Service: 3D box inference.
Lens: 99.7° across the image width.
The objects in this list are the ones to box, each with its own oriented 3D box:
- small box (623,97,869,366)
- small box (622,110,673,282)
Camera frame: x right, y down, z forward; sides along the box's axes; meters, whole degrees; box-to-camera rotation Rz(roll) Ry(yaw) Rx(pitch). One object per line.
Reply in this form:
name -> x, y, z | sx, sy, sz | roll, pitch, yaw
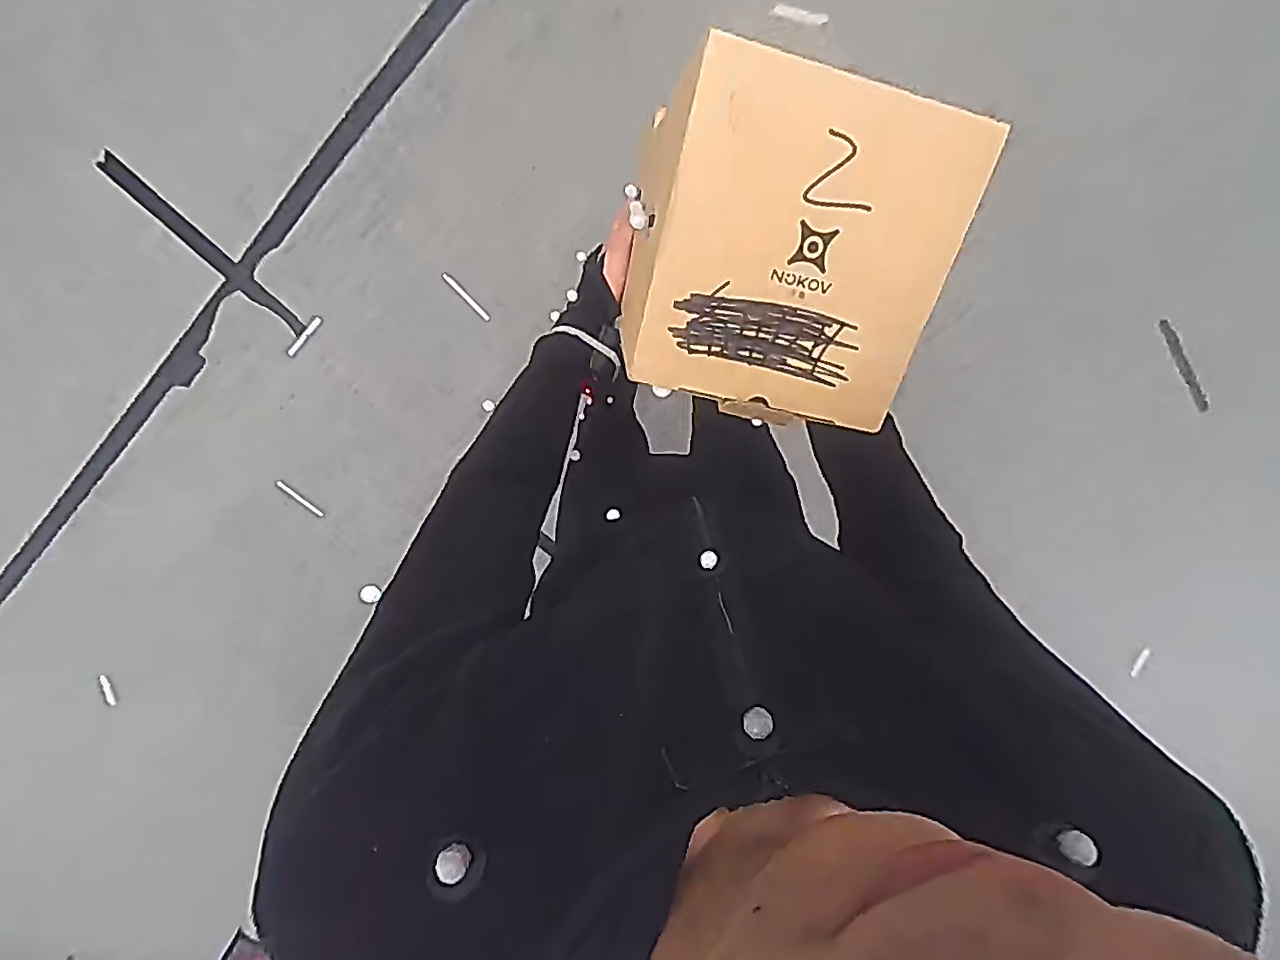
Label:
small box -> 0.079, -0.228, 0.520 | 0.168, 0.176, 0.179 | 10, 114, -9
small box -> 0.072, -0.317, 0.660 | 0.168, 0.176, 0.179 | 8, 114, -9
